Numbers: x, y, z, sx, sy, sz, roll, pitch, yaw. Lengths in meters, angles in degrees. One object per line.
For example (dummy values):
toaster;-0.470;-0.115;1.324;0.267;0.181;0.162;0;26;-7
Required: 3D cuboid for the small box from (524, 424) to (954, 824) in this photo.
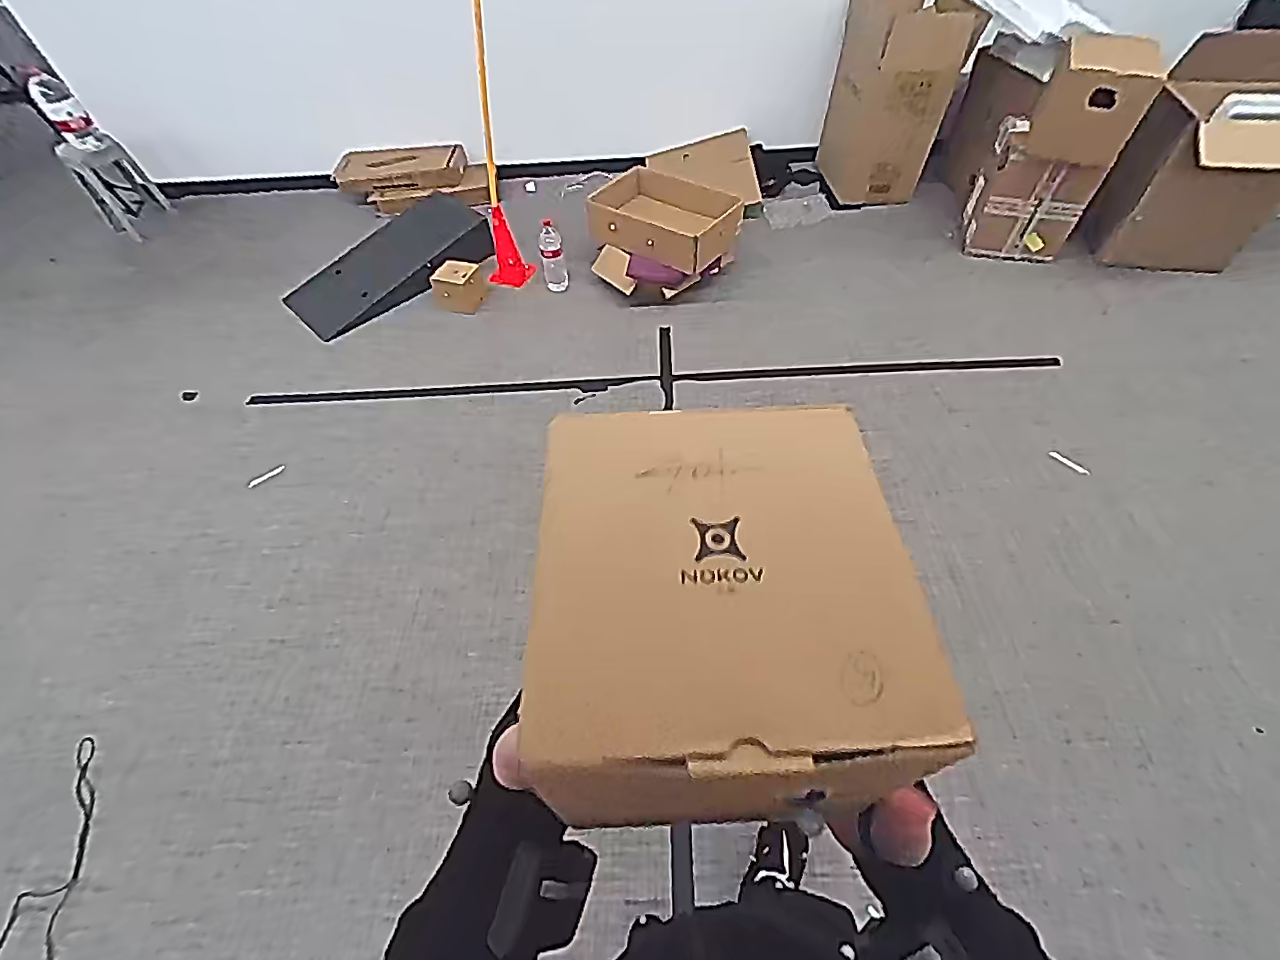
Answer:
small box;0.036;0.090;0.314;0.168;0.176;0.179;-3;51;-2
